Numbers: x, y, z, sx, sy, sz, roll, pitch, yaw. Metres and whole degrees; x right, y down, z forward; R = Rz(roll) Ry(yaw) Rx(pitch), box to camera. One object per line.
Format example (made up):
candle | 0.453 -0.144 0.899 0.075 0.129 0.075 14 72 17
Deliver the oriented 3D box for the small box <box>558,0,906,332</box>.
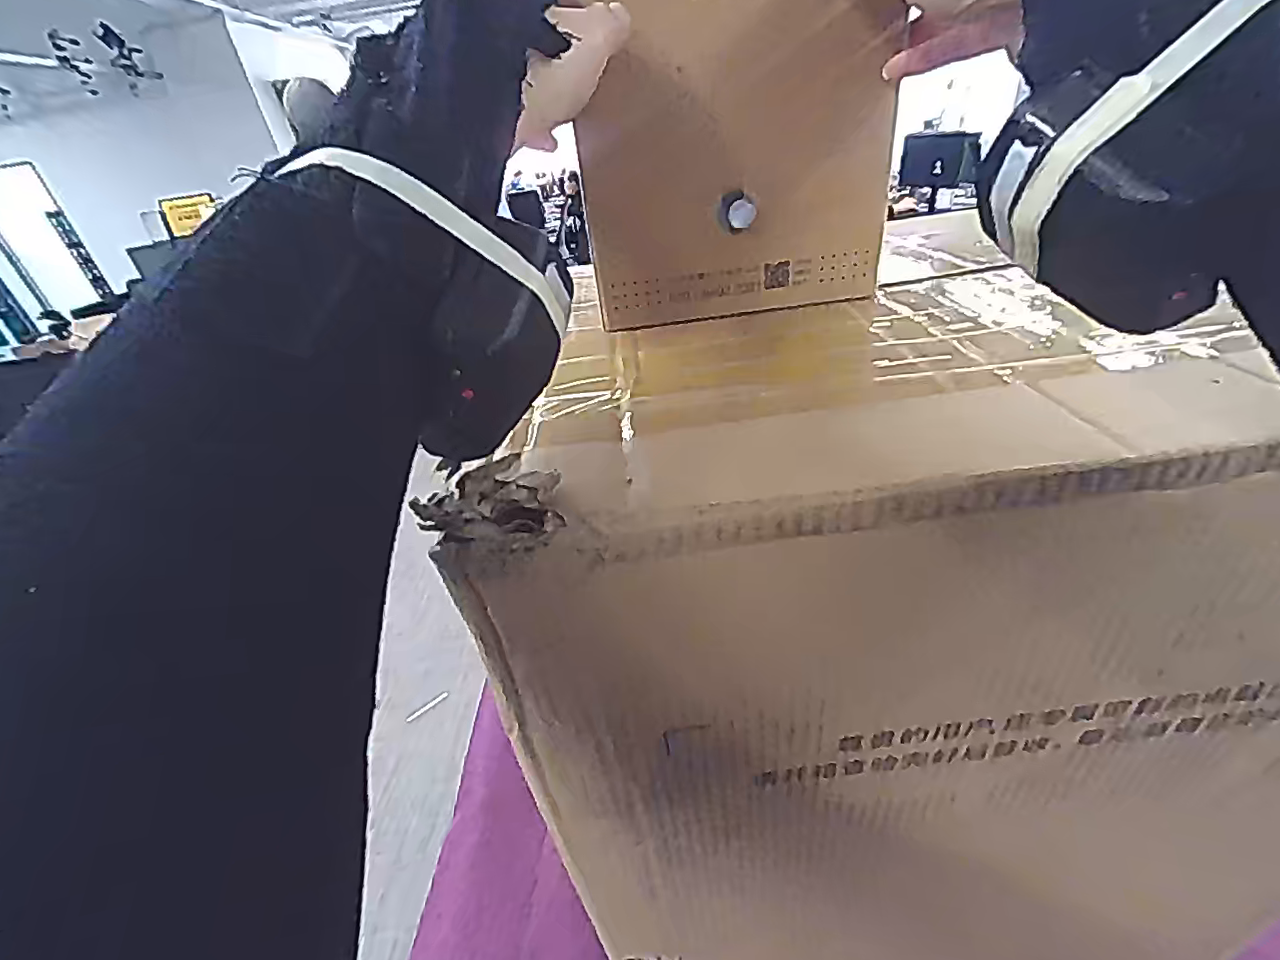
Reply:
small box | 0.047 -0.209 0.359 0.168 0.176 0.179 -8 33 1
